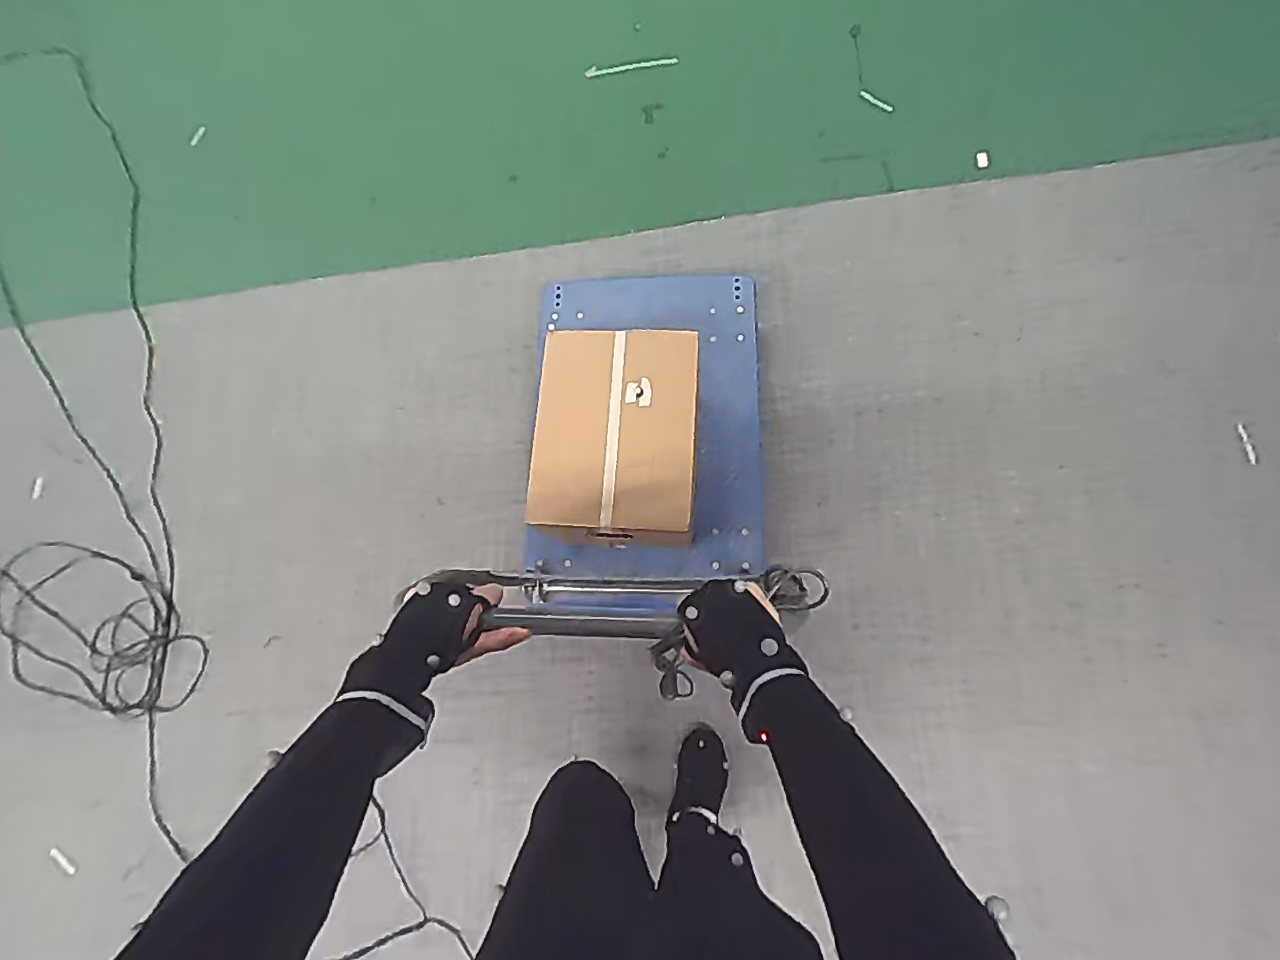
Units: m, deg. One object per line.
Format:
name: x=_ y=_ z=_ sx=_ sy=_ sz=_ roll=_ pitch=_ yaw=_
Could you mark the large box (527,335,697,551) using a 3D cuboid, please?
large box: x=-0.036 y=-0.063 z=1.195 sx=0.320 sy=0.320 sz=0.408 roll=3 pitch=76 yaw=6
